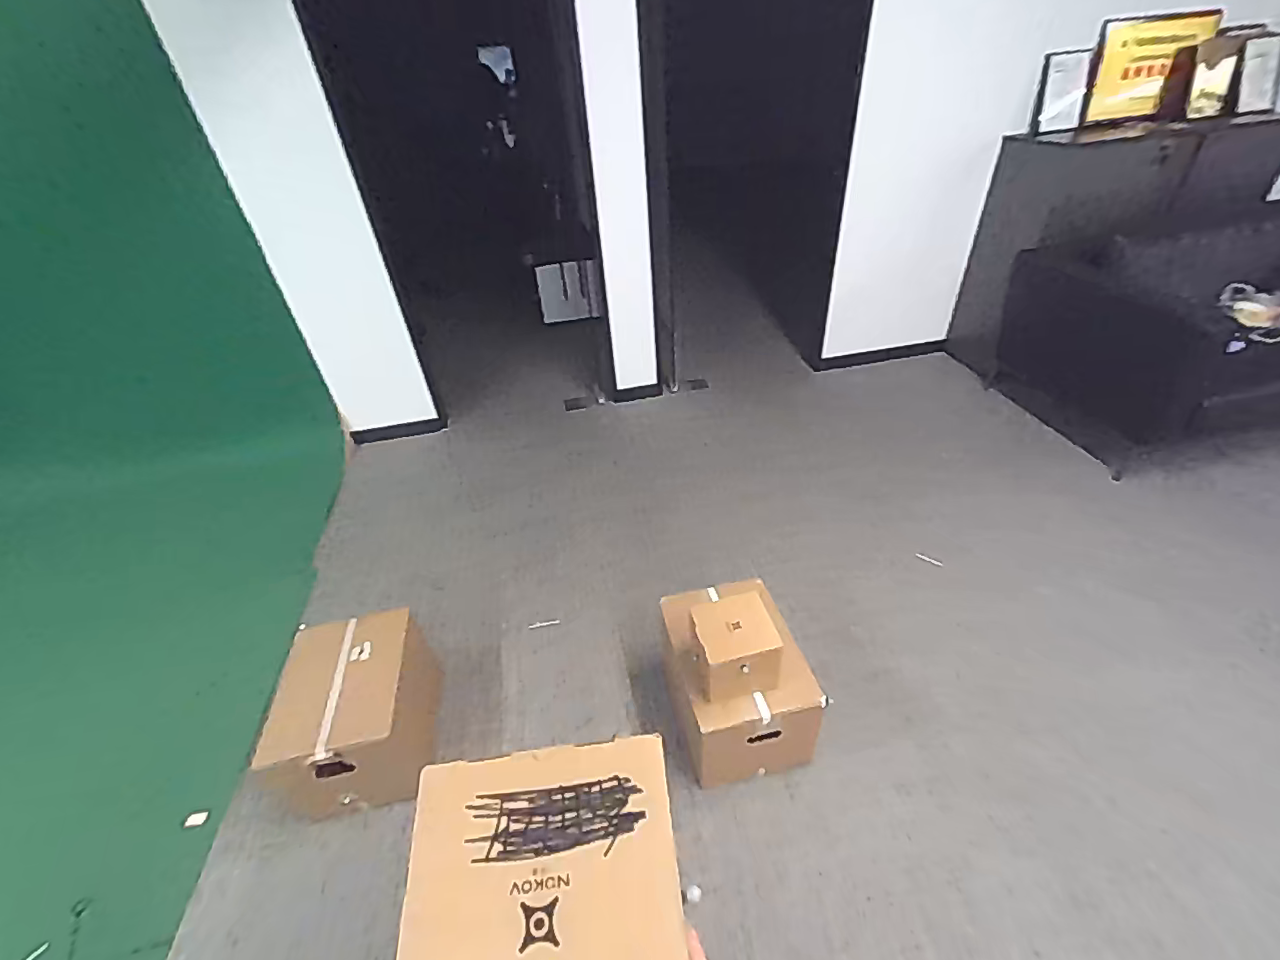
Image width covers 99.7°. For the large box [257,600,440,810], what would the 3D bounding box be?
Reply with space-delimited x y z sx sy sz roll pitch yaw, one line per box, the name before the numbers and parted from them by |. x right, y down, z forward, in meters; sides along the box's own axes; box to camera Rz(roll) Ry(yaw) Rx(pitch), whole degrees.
large box | -0.768 0.614 1.504 0.320 0.320 0.408 -11 38 -7

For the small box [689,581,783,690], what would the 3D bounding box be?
small box | 0.225 0.376 1.302 0.179 0.176 0.168 -13 40 -6
